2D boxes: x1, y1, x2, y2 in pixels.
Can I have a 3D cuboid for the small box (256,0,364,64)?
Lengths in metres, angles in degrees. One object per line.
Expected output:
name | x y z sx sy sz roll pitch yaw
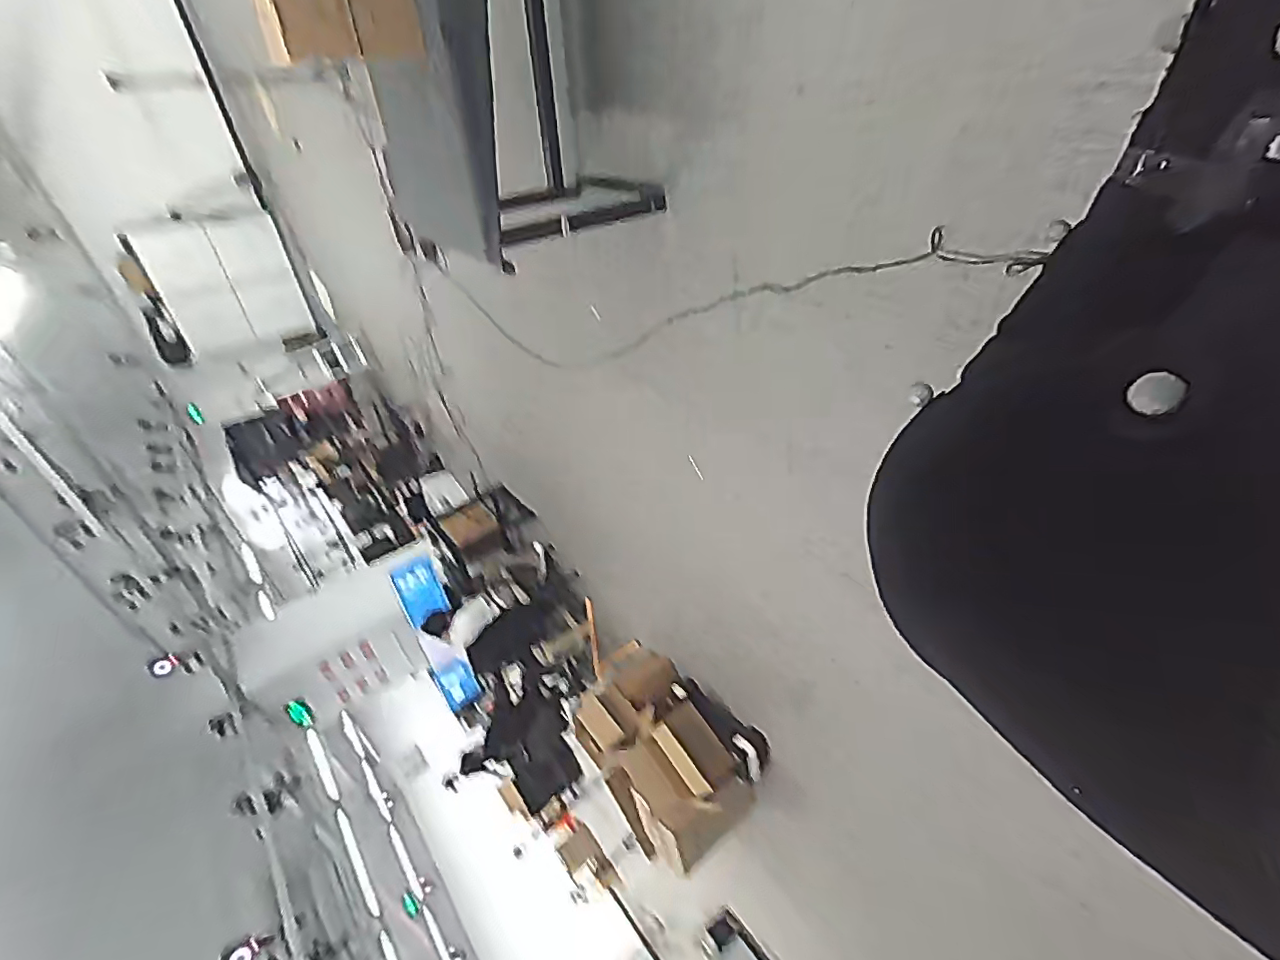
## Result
small box | -0.776 -1.087 1.271 0.179 0.176 0.168 35 141 36

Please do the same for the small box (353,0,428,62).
small box | -0.652 -1.158 1.351 0.168 0.176 0.179 35 140 37
